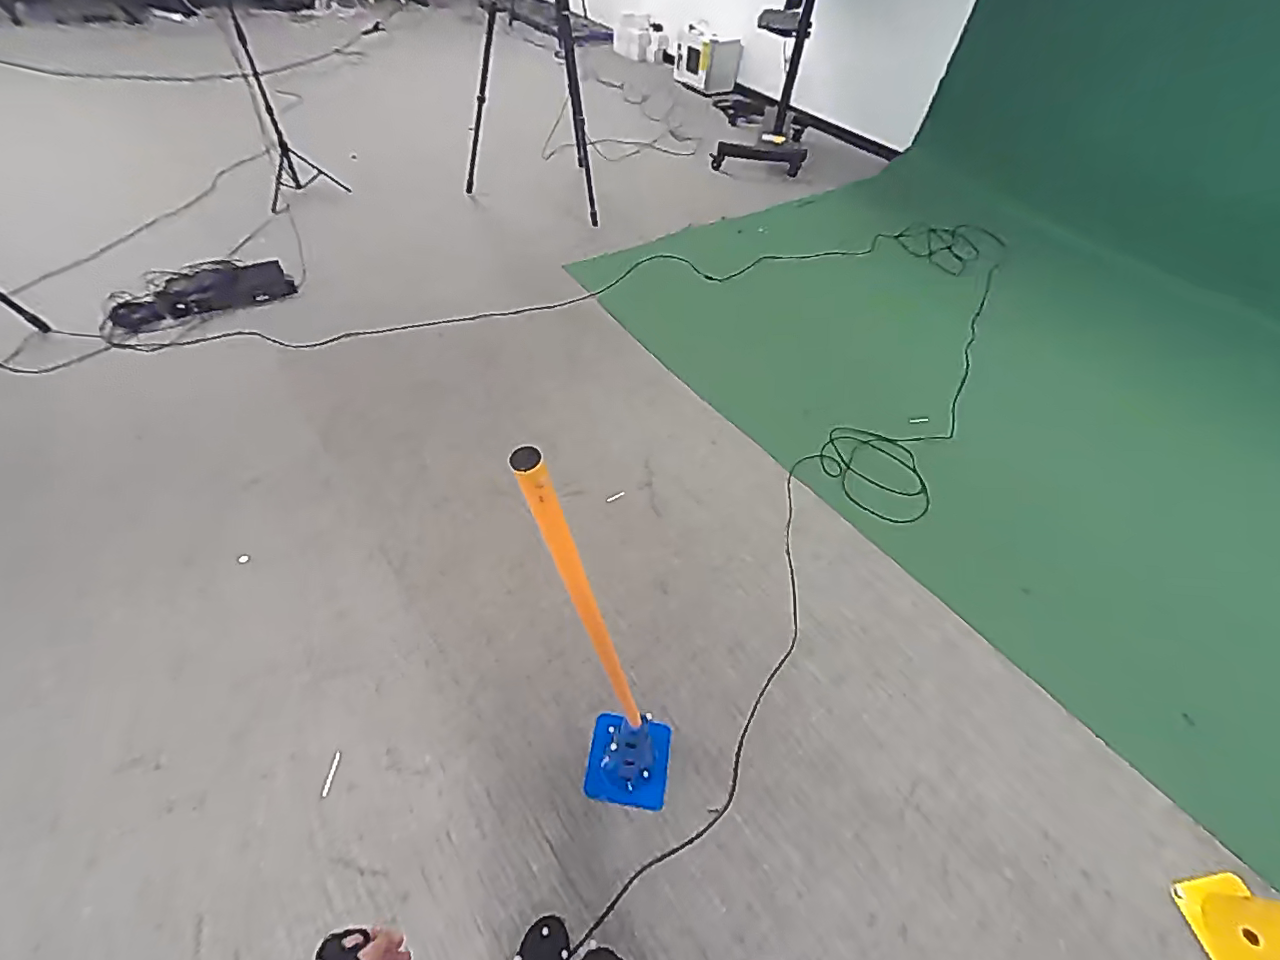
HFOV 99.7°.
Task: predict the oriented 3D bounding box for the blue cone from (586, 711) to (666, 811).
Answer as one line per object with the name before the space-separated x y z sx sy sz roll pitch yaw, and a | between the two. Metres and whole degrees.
blue cone | -0.025 0.599 1.207 0.193 0.380 0.192 7 51 2
